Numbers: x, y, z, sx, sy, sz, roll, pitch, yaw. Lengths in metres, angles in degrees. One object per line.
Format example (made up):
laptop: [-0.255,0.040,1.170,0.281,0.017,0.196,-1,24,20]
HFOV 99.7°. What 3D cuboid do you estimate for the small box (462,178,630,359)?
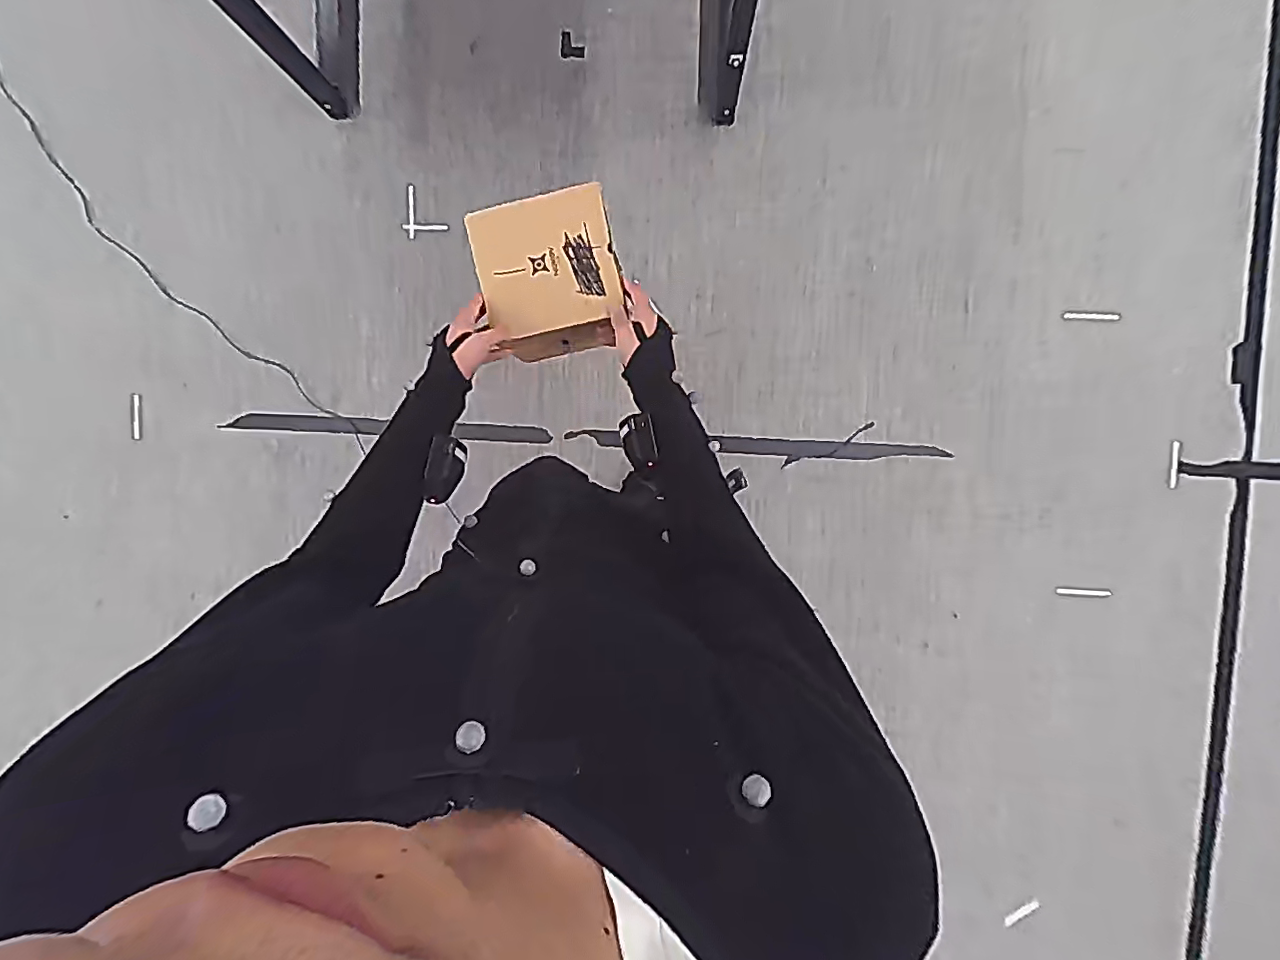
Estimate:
small box: [-0.113,-0.273,0.737,0.179,0.176,0.168,-12,93,4]
